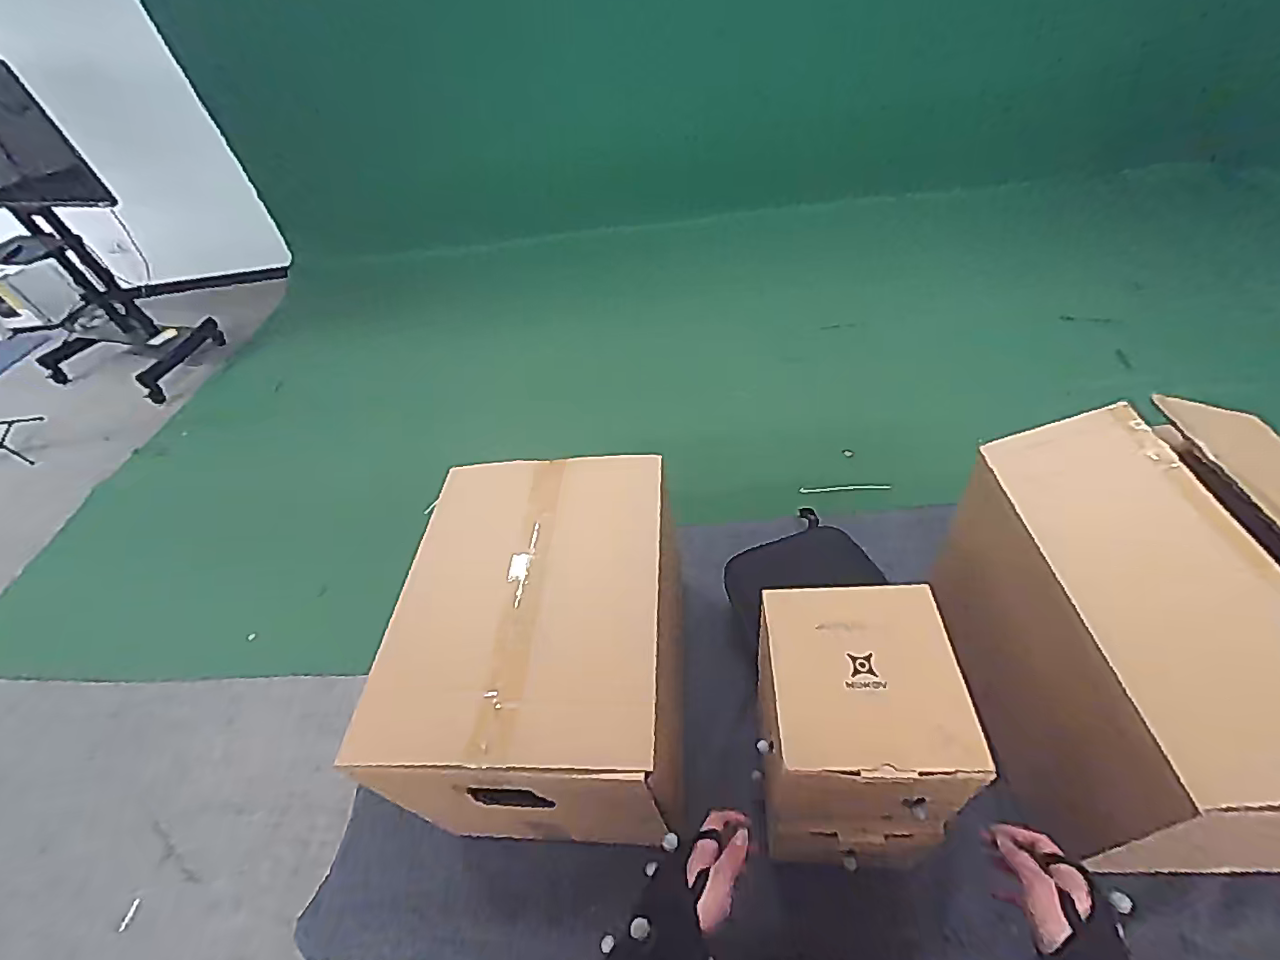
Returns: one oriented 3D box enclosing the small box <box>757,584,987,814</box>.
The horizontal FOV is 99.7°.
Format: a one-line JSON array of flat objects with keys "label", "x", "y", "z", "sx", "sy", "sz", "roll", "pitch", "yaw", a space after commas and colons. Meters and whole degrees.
[{"label": "small box", "x": 0.213, "y": 0.228, "z": 0.557, "sx": 0.168, "sy": 0.176, "sz": 0.179, "roll": -3, "pitch": 46, "yaw": 6}]
